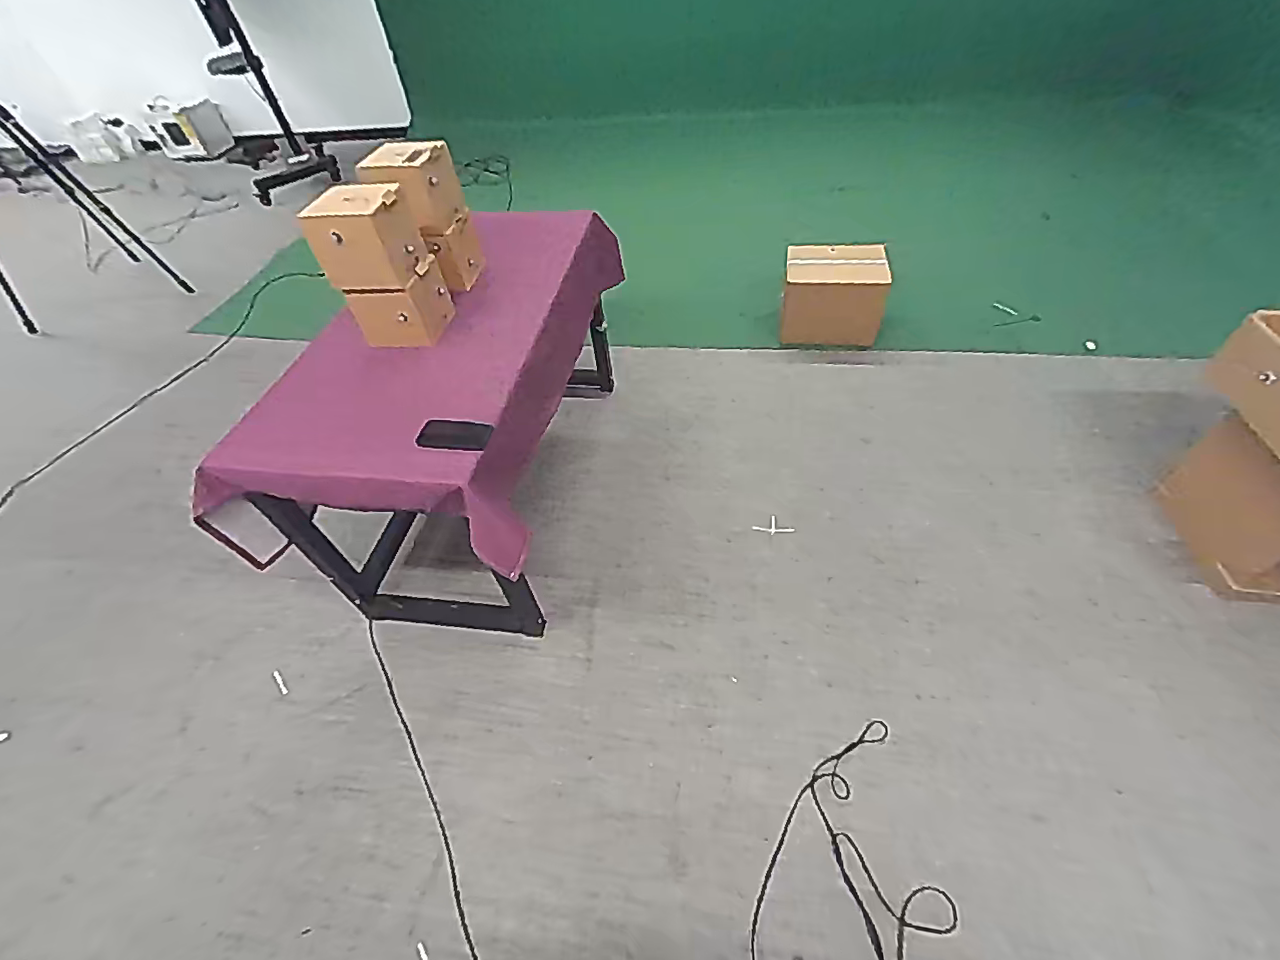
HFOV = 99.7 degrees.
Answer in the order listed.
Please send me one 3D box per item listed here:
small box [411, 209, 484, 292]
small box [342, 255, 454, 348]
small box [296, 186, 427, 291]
[{"bbox_3d":[-0.570,-0.649,1.534,0.179,0.176,0.168,3,50,8],"label":"small box"},{"bbox_3d":[-0.597,-0.447,1.364,0.179,0.176,0.168,2,49,9],"label":"small box"},{"bbox_3d":[-0.624,-0.548,1.235,0.179,0.176,0.168,2,49,8],"label":"small box"}]
